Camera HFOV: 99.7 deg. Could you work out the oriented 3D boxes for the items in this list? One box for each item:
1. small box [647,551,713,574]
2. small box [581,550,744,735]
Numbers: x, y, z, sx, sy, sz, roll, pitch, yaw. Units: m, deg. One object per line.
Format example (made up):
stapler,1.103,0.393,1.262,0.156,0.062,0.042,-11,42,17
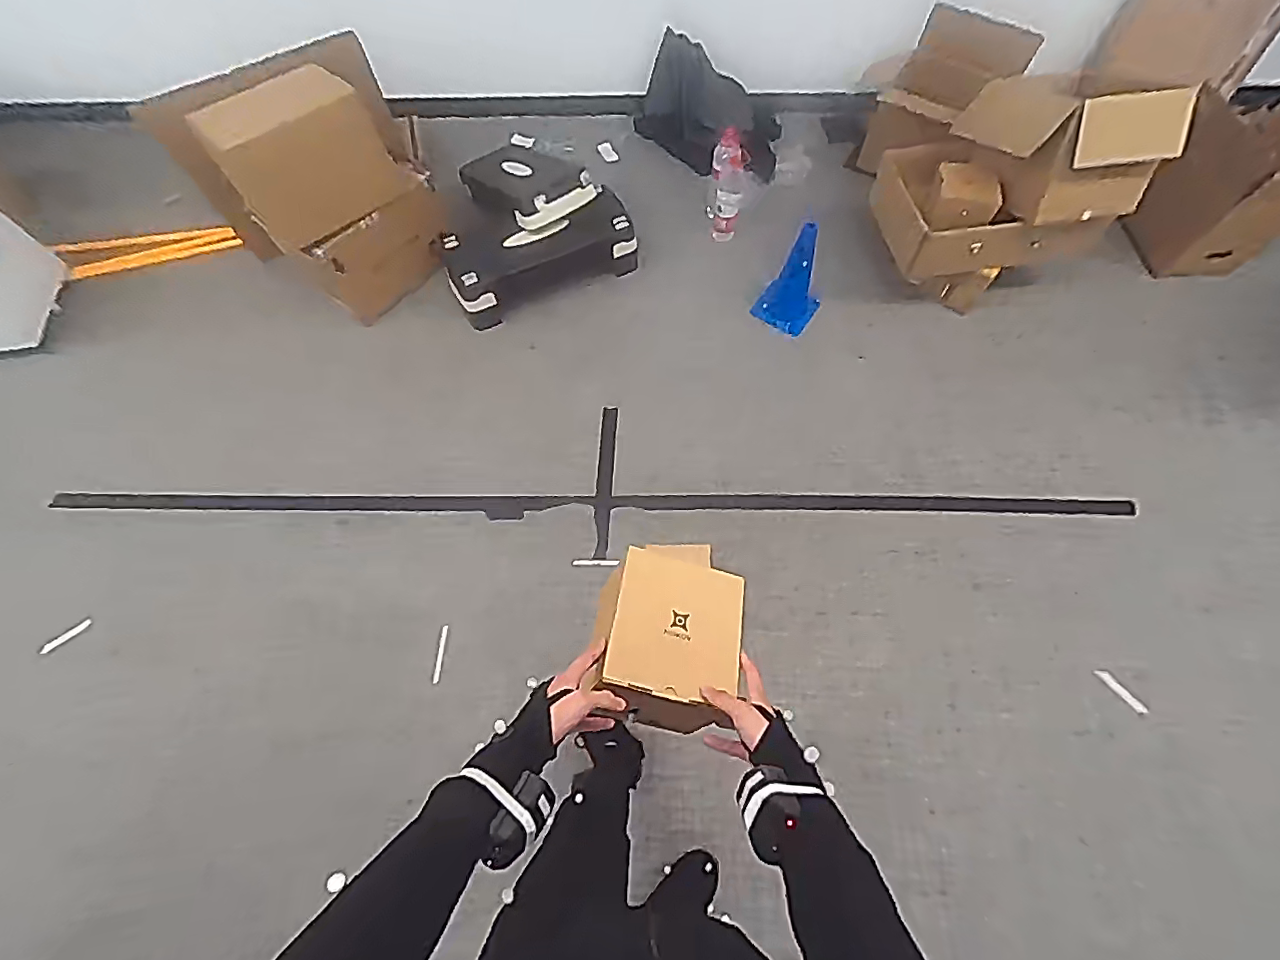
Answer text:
small box,0.104,0.296,1.472,0.179,0.176,0.168,-1,65,2
small box,0.027,0.226,0.732,0.168,0.176,0.179,17,55,-7
